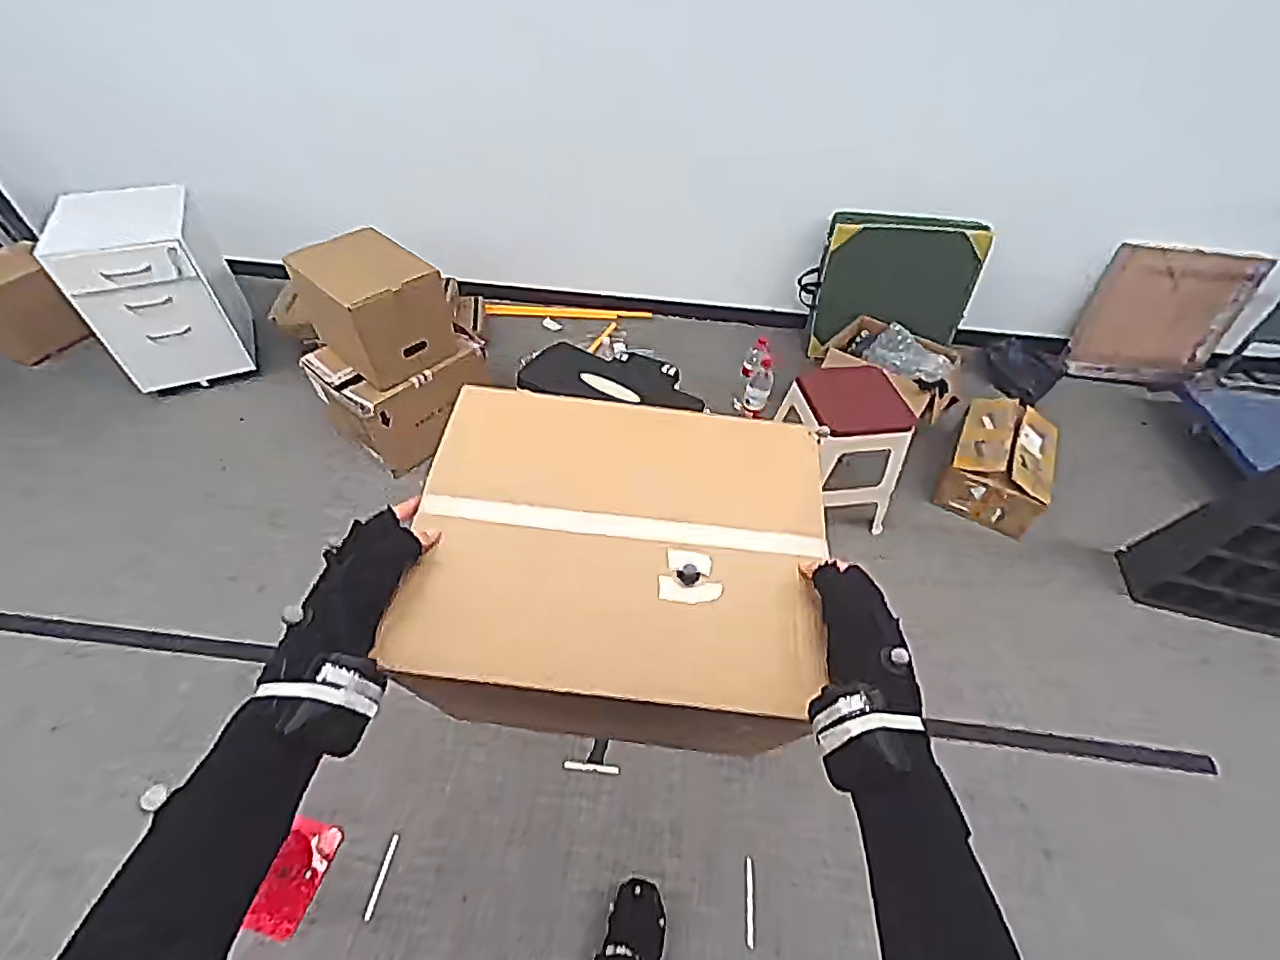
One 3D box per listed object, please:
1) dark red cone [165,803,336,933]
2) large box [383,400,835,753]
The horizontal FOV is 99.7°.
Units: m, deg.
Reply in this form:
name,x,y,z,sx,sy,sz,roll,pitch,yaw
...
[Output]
name,x,y,z,sx,sy,sz,roll,pitch,yaw
dark red cone,-0.772,0.707,1.028,0.201,0.394,0.202,12,49,6
large box,-0.025,0.134,0.670,0.408,0.320,0.320,7,58,0
